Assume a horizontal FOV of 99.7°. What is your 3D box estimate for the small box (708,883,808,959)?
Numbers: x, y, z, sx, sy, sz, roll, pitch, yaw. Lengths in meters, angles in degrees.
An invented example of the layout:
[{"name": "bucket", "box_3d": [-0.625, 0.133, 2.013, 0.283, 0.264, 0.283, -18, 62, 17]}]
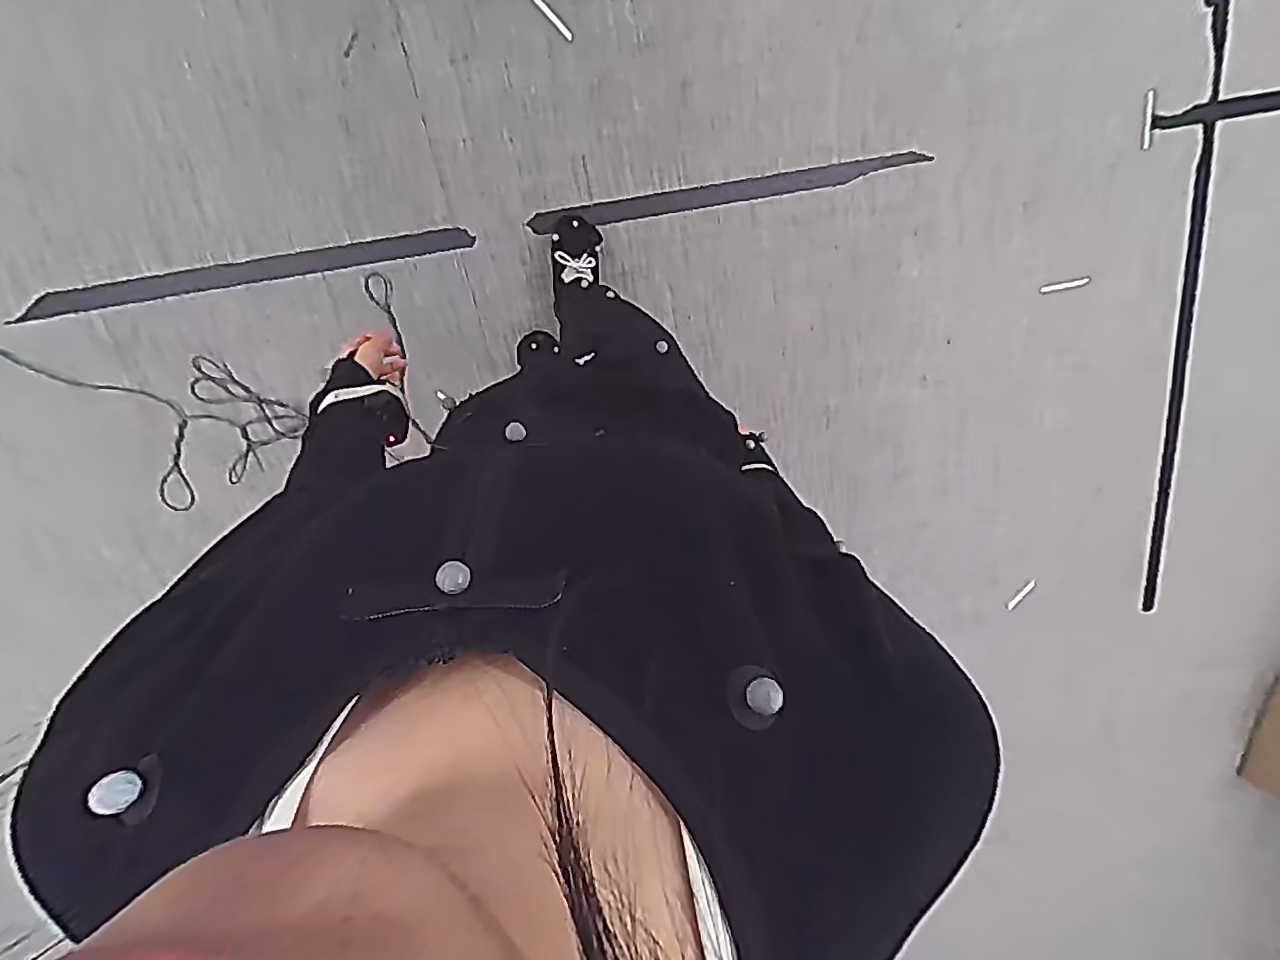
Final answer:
[{"name": "small box", "box_3d": [0.249, 1.007, 1.160, 0.168, 0.176, 0.179, -8, 108, -6]}]
